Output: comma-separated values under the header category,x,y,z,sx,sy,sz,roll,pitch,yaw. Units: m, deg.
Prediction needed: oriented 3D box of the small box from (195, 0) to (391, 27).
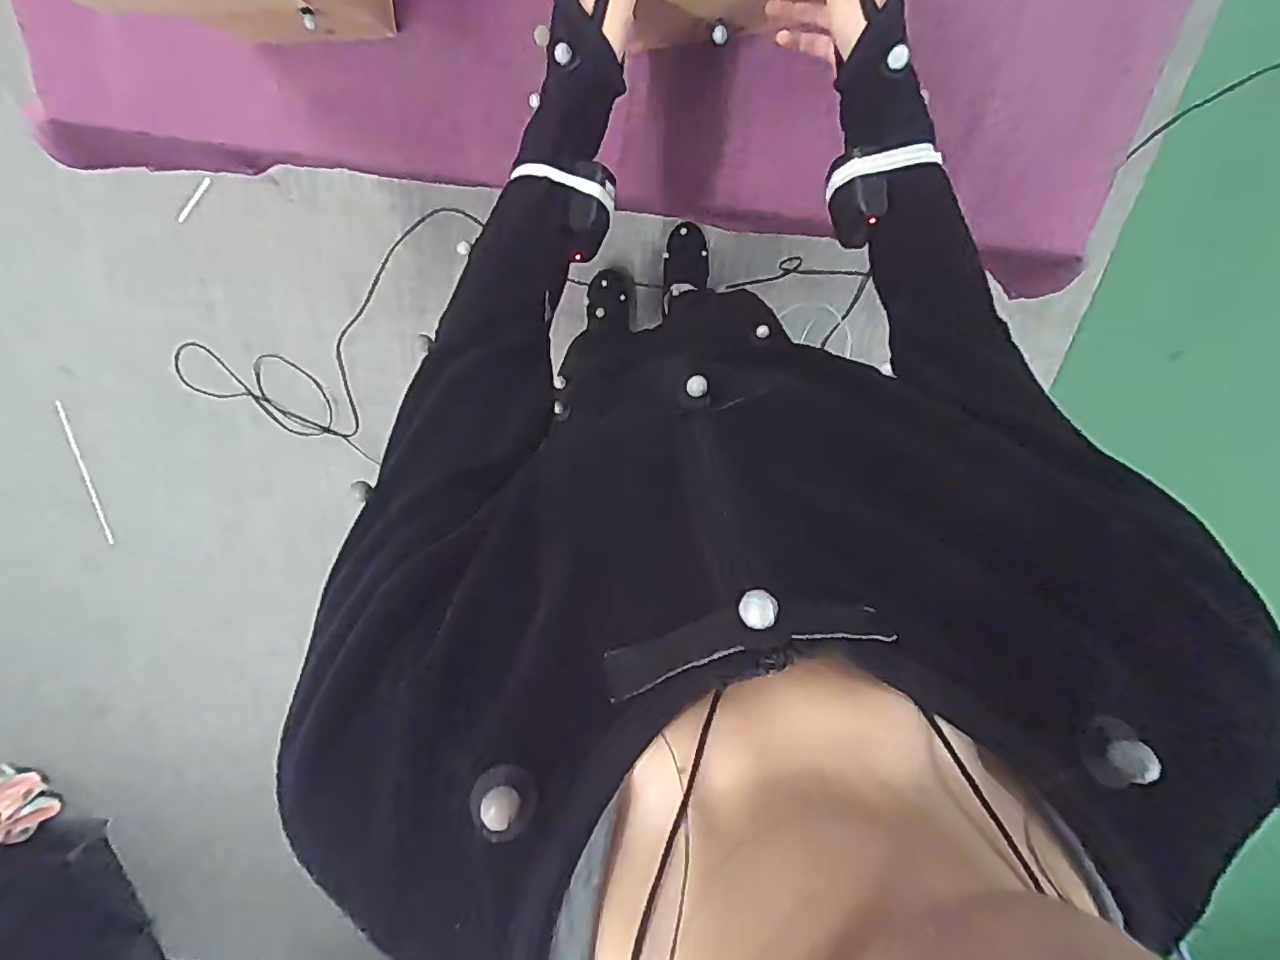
category,x,y,z,sx,sy,sz,roll,pitch,yaw
small box,-0.338,-0.519,0.463,0.168,0.176,0.179,1,115,2

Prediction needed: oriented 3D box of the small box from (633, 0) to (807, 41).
category,x,y,z,sx,sy,sz,roll,pitch,yaw
small box,0.067,-0.502,0.446,0.168,0.176,0.179,-4,116,5

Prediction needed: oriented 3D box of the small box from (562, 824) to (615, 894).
category,x,y,z,sx,sy,sz,roll,pitch,yaw
small box,-0.207,1.551,2.215,0.179,0.176,0.168,16,114,-6
